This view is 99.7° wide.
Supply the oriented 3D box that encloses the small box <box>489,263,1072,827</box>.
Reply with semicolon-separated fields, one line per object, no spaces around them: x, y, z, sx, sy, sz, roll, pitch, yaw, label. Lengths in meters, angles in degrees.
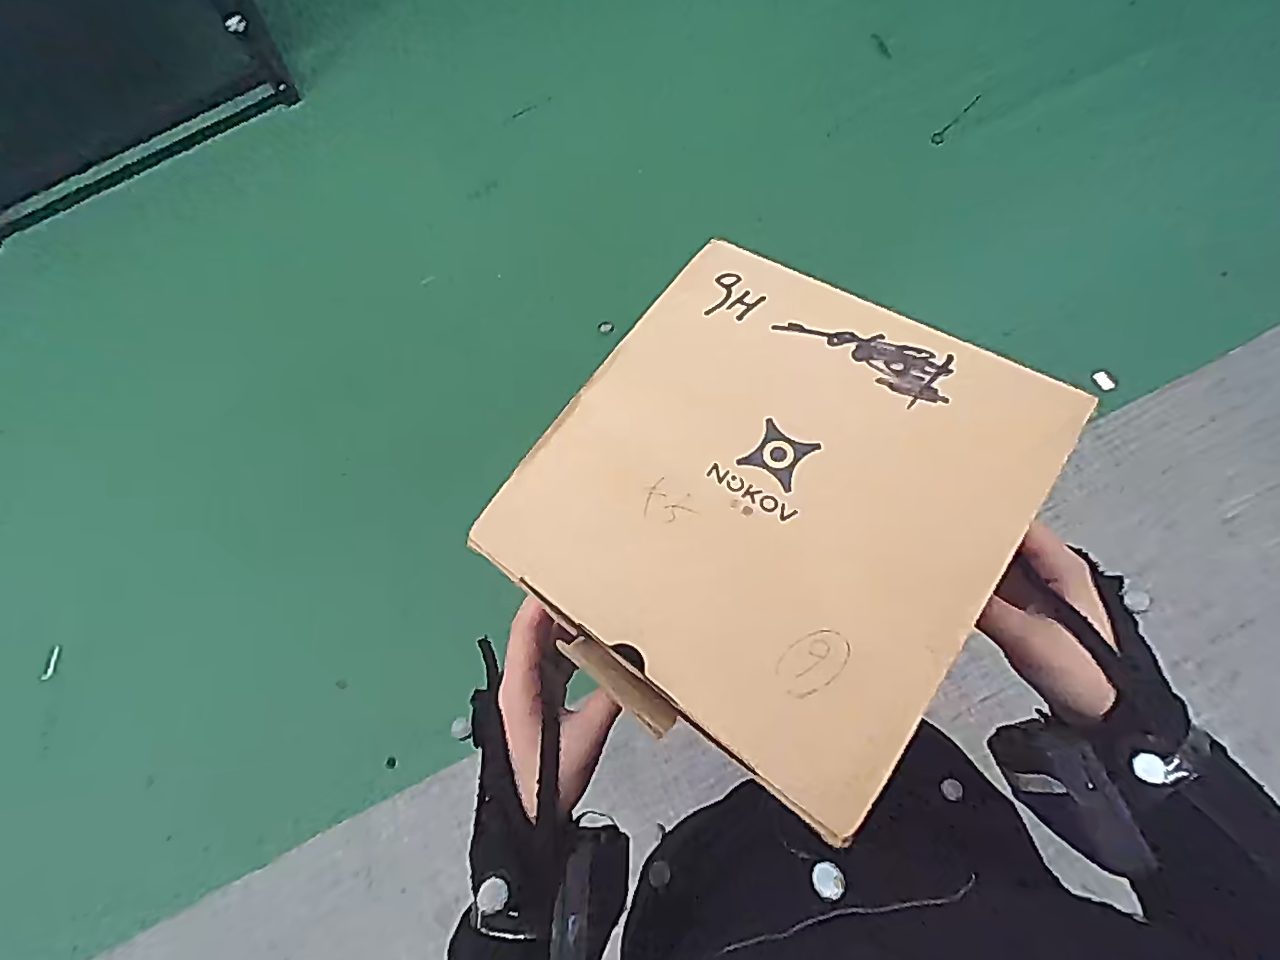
0.063;0.033;0.286;0.168;0.176;0.179;33;77;21;small box
